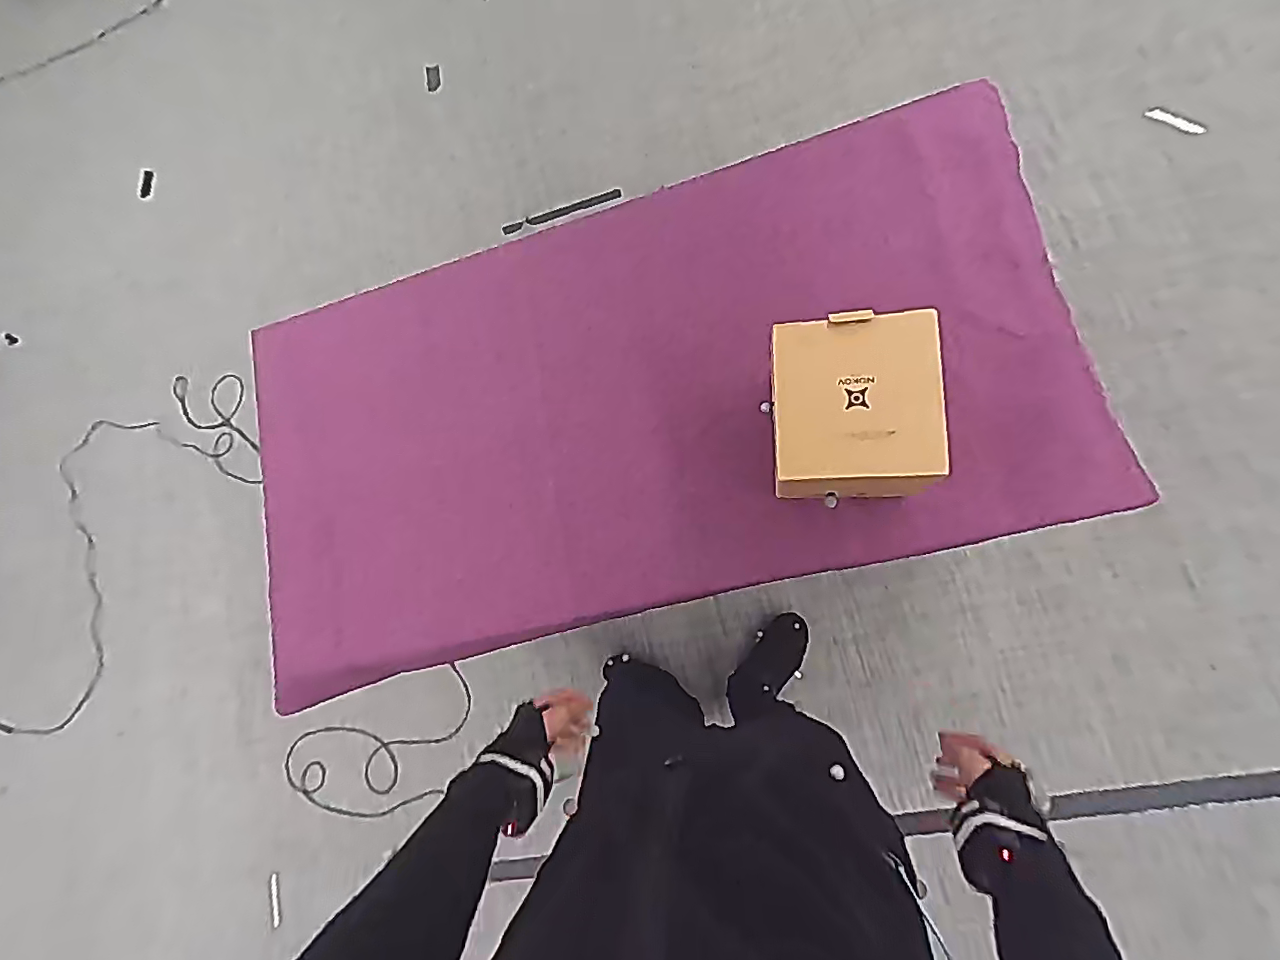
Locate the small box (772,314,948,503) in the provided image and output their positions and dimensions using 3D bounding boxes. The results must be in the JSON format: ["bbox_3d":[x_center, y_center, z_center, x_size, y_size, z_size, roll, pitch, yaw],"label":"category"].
[{"bbox_3d":[0.239,-0.071,0.629,0.168,0.176,0.179,-1,81,14],"label":"small box"}]
